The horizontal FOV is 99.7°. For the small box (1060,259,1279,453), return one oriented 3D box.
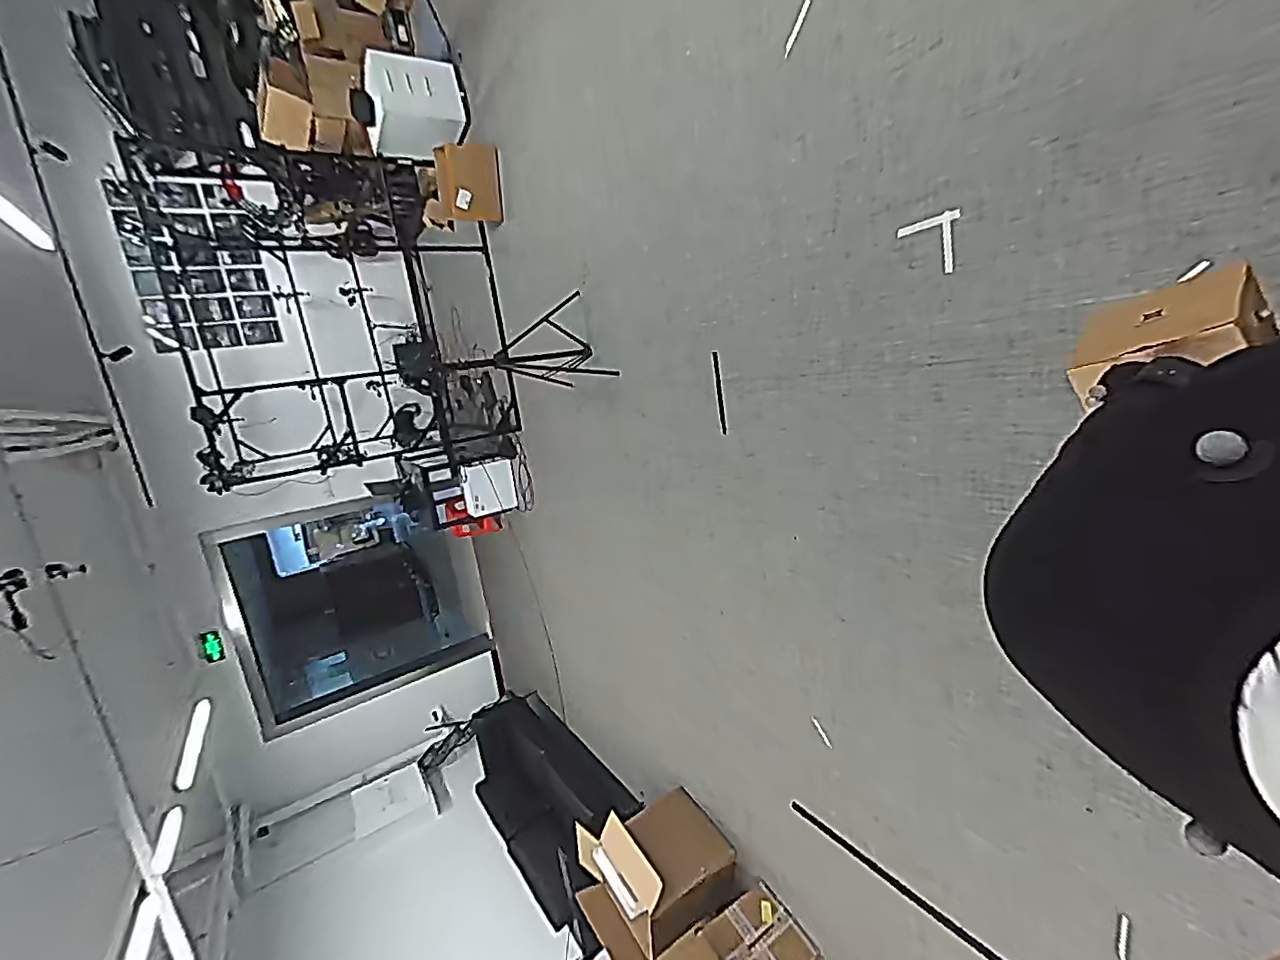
[{"bbox_3d":[0.716,-0.152,0.729,0.176,0.179,0.168,51,151,-13],"label":"small box"}]
